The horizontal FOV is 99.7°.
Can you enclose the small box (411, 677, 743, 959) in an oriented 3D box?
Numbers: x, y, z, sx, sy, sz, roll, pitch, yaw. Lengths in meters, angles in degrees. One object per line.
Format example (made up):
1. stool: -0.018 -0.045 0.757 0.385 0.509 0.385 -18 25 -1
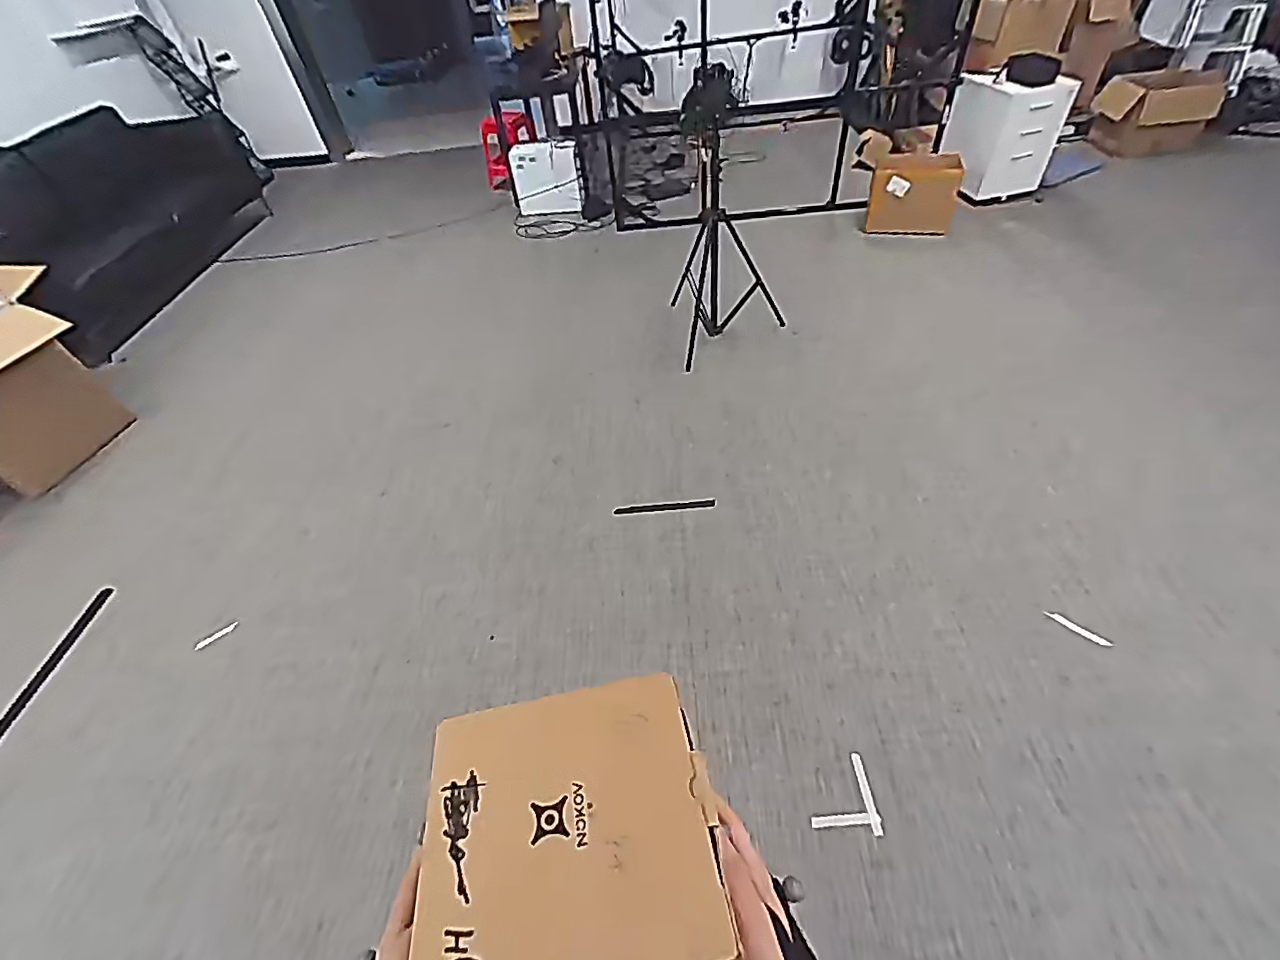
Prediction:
1. small box: -0.038 0.269 0.381 0.179 0.176 0.168 -9 39 -4
